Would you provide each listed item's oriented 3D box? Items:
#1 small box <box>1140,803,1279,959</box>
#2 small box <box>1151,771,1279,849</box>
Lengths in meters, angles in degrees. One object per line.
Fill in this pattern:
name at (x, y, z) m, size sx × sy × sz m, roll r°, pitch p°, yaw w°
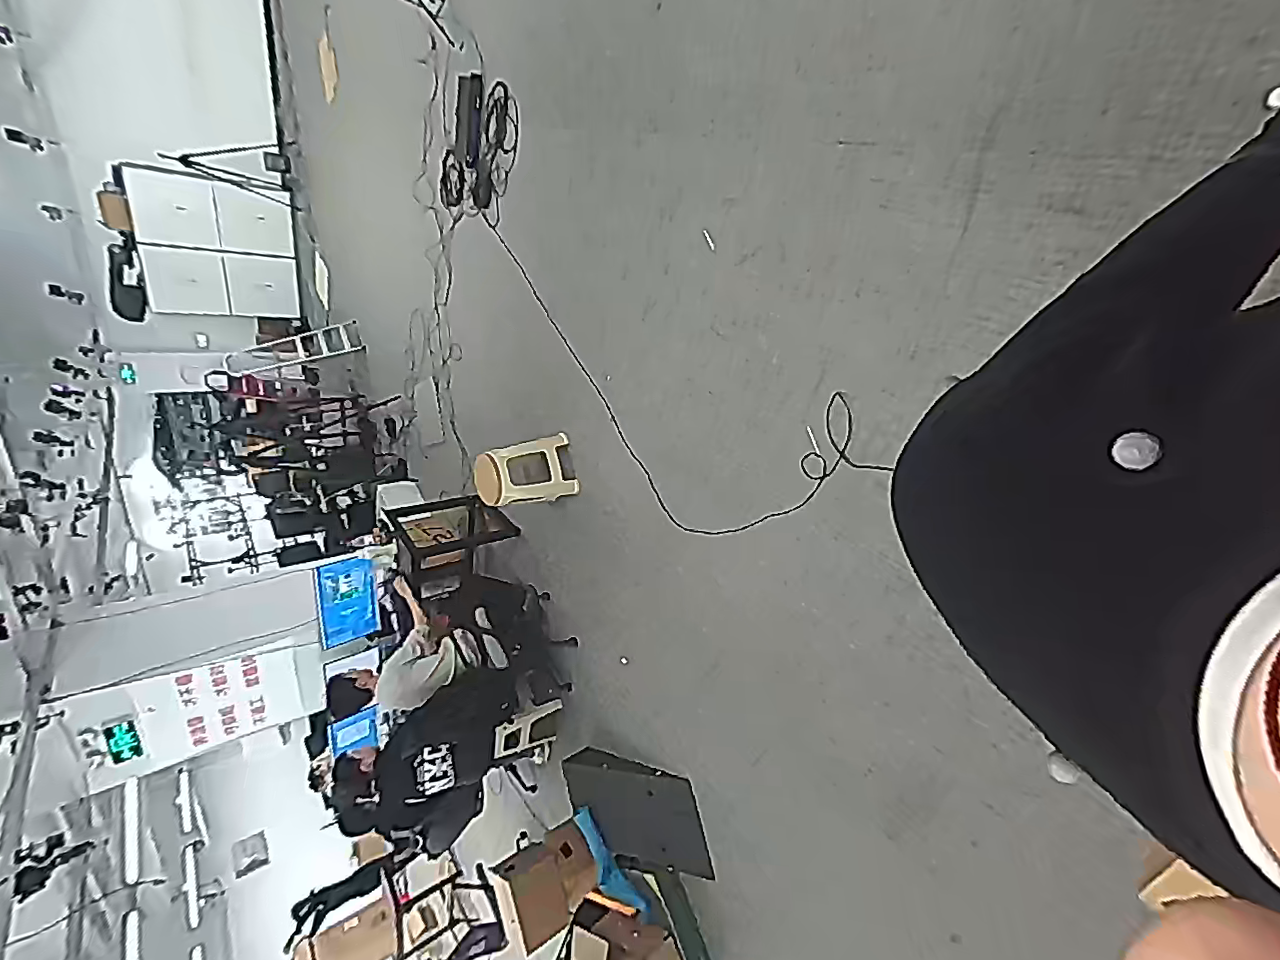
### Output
small box at (1.102, 0.762, 1.015) m, size 0.168 × 0.176 × 0.179 m, roll 36°, pitch 125°, yaw 40°
small box at (1.228, 0.742, 1.120) m, size 0.179 × 0.176 × 0.168 m, roll 38°, pitch 127°, yaw 40°
